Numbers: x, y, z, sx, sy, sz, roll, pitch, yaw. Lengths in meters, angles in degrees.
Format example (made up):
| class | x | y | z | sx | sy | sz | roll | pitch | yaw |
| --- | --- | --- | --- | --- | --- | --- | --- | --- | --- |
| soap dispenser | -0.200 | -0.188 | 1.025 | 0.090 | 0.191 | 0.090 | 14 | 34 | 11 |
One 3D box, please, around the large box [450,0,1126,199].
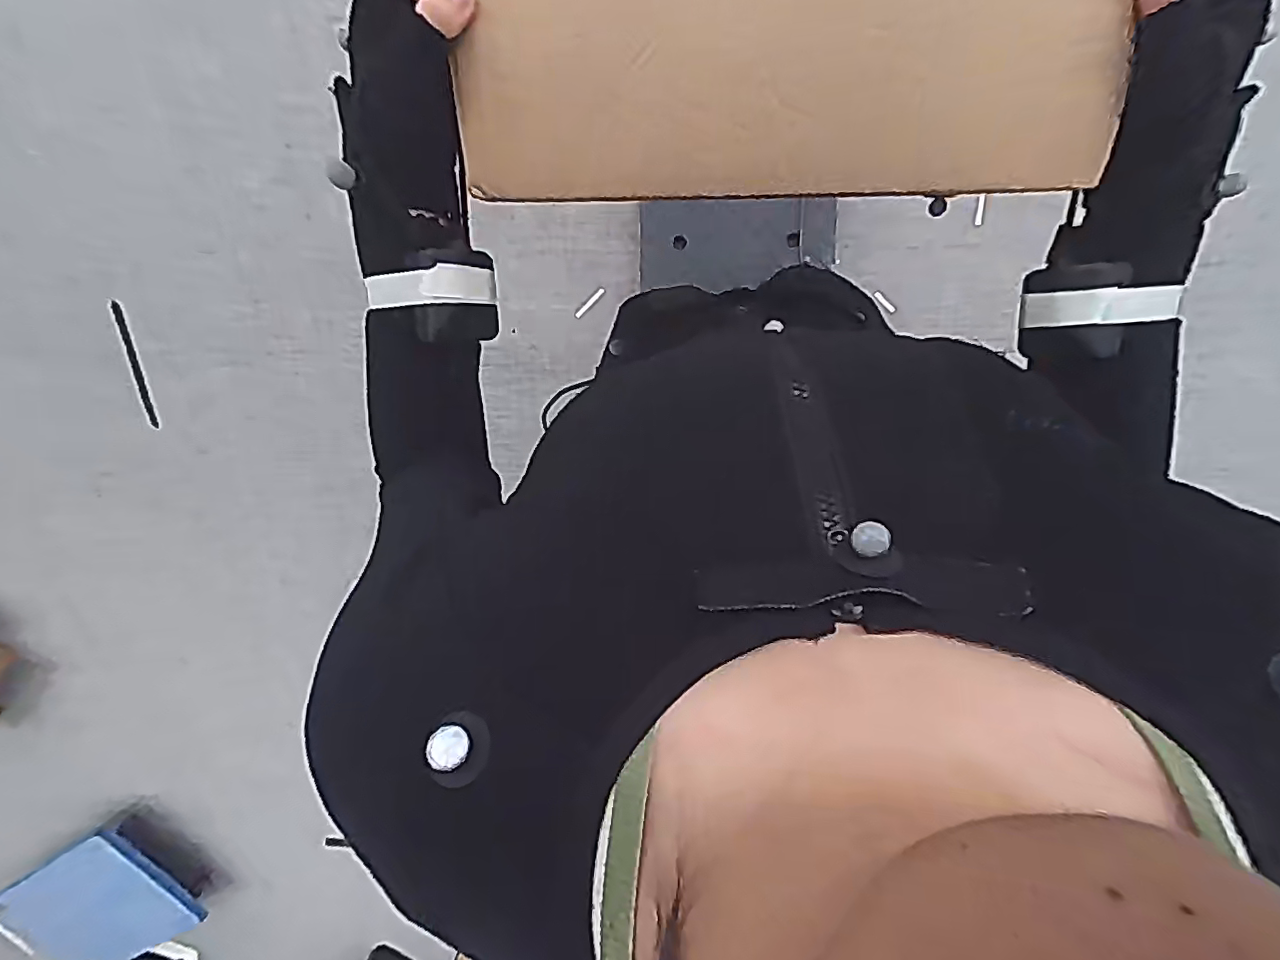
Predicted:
| class | x | y | z | sx | sy | sz | roll | pitch | yaw |
| --- | --- | --- | --- | --- | --- | --- | --- | --- | --- |
| large box | 0.091 | -0.406 | 0.420 | 0.408 | 0.320 | 0.320 | 0 | 119 | 3 |
